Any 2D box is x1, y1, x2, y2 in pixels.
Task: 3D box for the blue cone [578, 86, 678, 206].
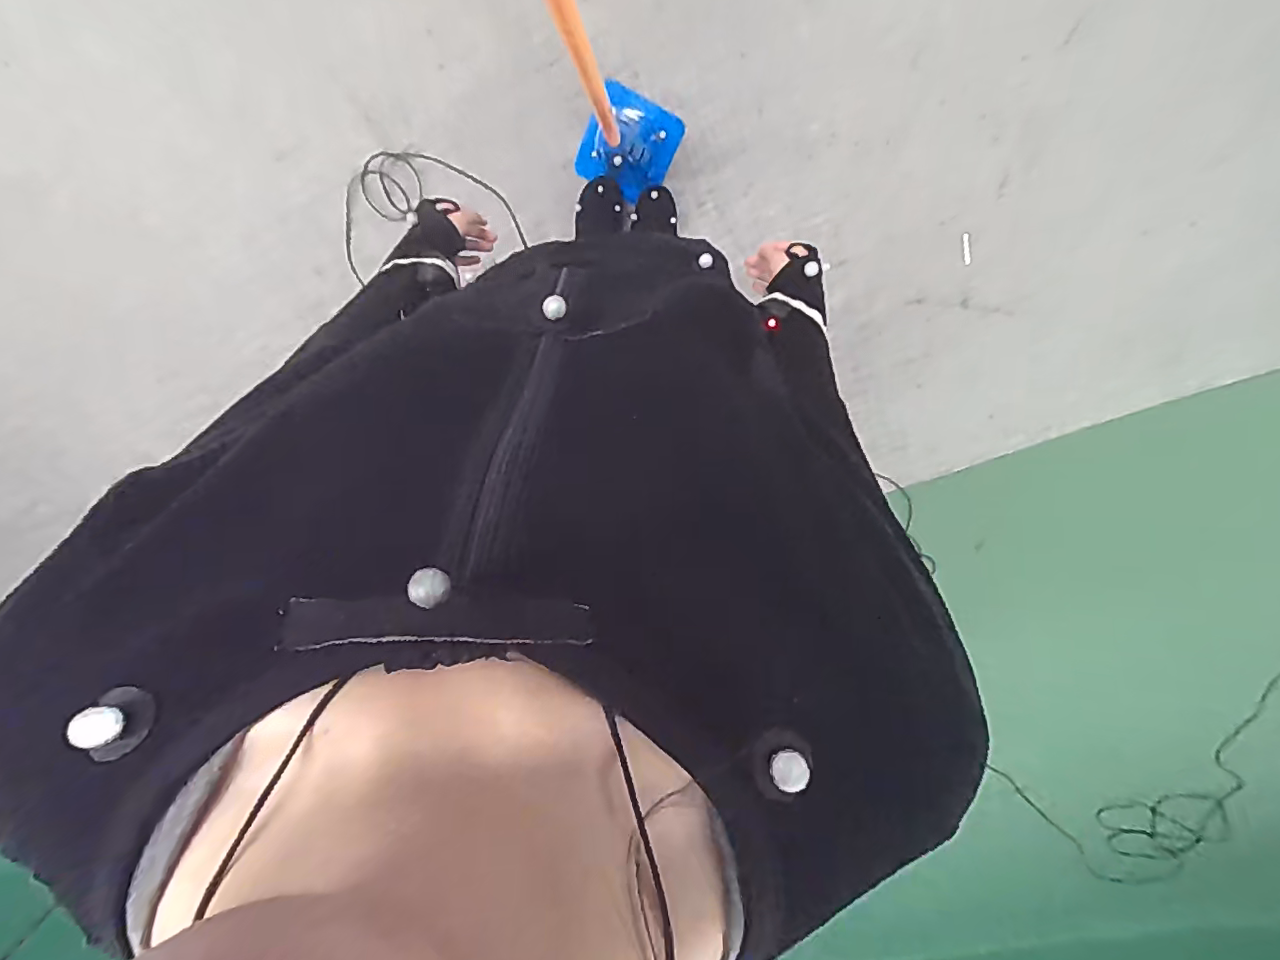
[{"bbox_3d":[-0.034,-0.651,1.044,0.192,0.380,0.193,23,117,-10],"label":"blue cone"}]
